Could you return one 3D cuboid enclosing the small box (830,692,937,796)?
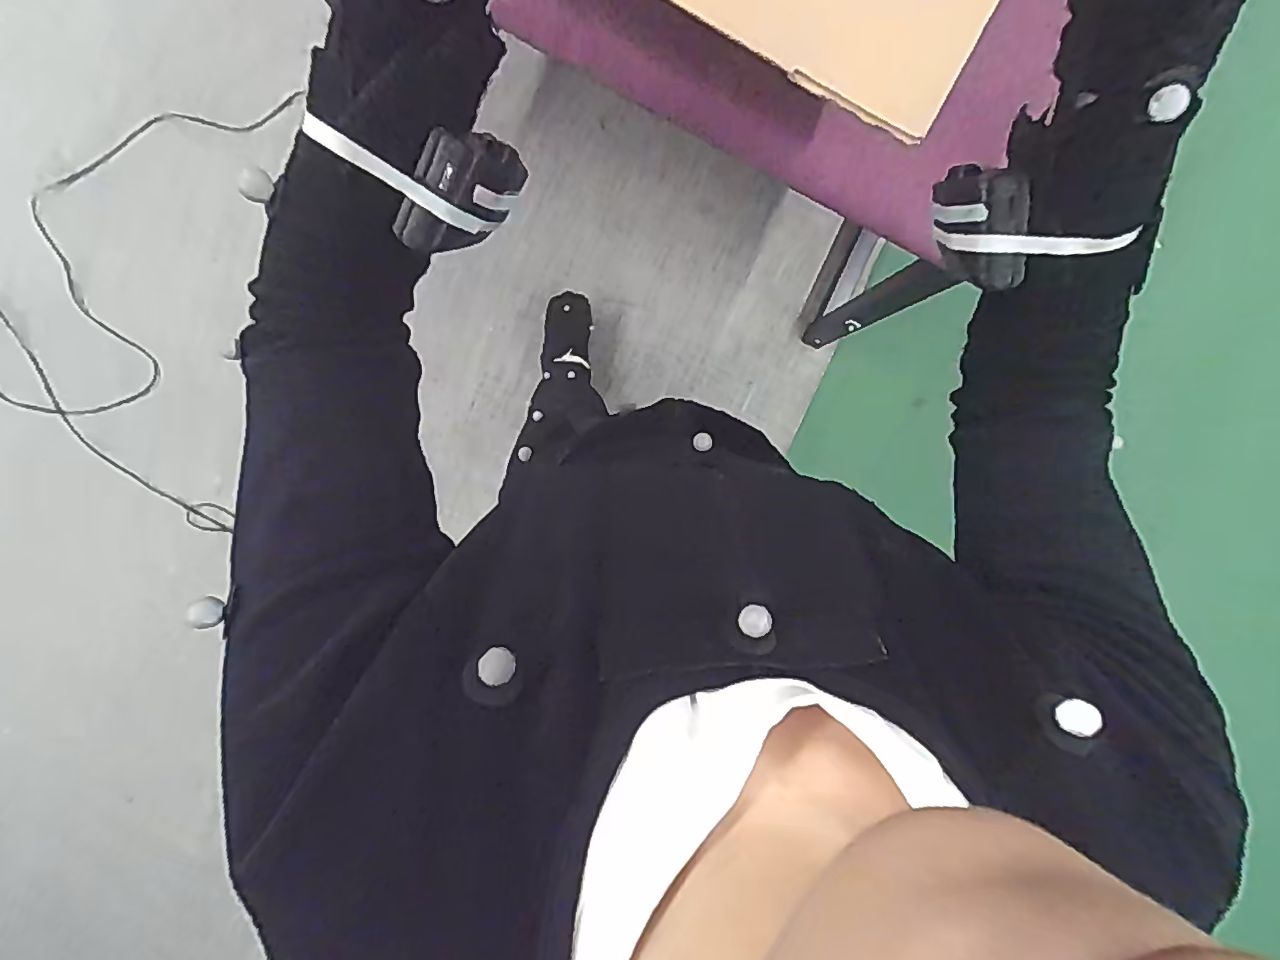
[{"bbox_3d":[0.653,0.706,1.472,0.179,0.176,0.168,26,93,-5],"label":"small box"}]
